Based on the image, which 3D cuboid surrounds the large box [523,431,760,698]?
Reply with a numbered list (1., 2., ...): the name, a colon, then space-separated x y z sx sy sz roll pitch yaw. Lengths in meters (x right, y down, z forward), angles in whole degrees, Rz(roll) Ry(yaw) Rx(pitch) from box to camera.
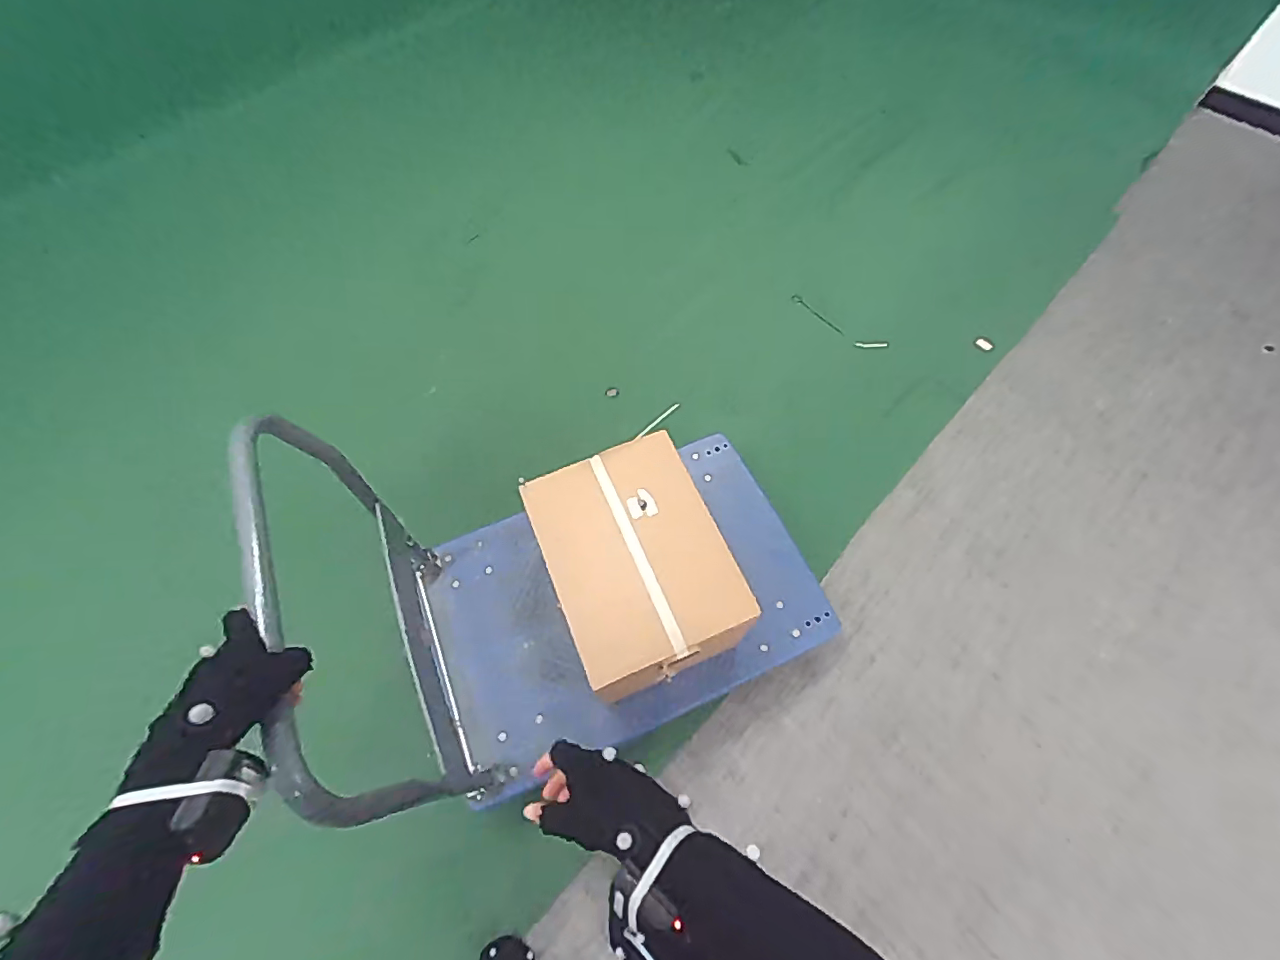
1. large box: -0.002 0.182 1.122 0.320 0.320 0.408 -22 64 -10
